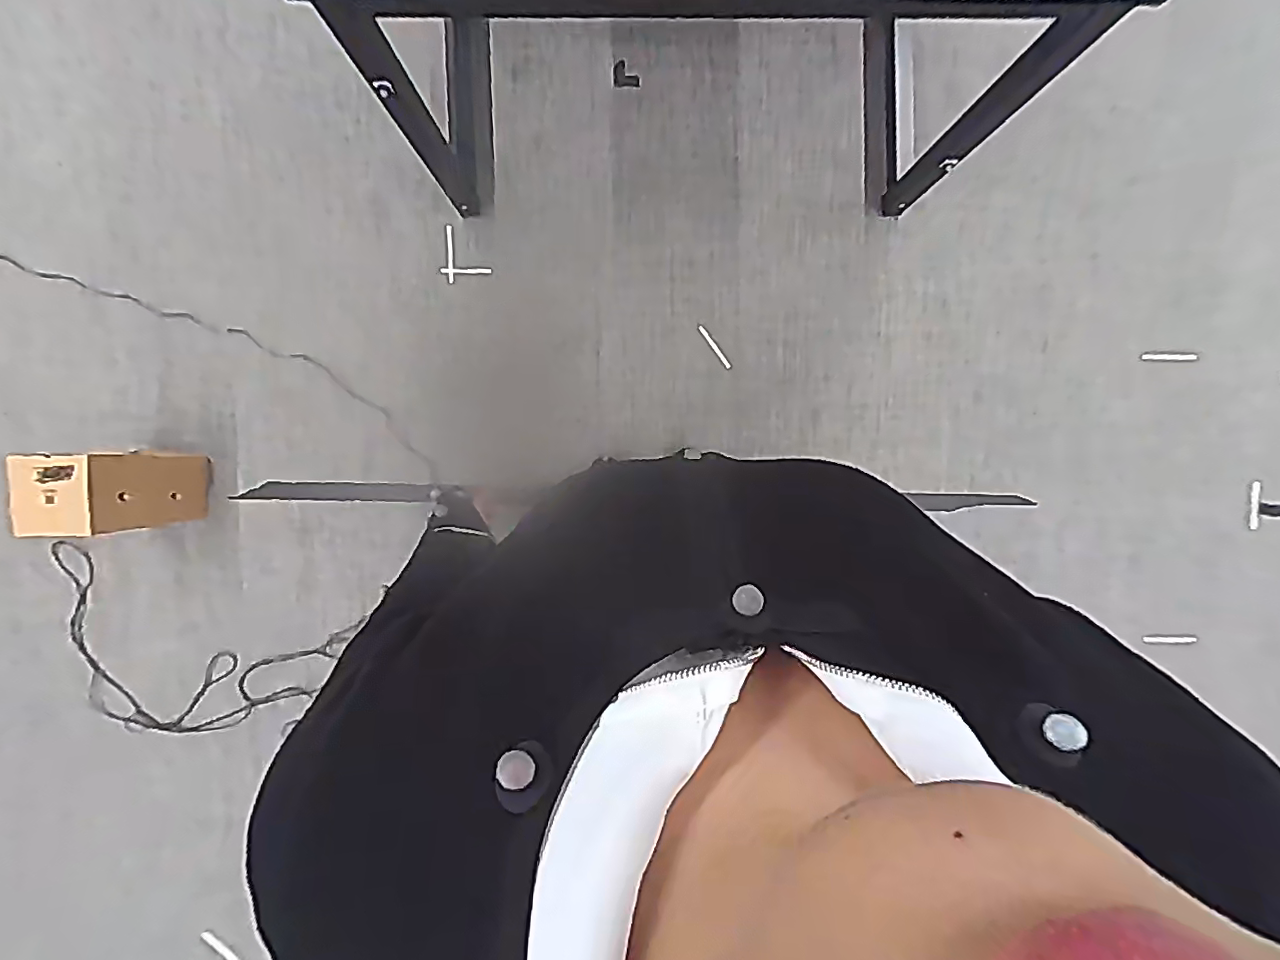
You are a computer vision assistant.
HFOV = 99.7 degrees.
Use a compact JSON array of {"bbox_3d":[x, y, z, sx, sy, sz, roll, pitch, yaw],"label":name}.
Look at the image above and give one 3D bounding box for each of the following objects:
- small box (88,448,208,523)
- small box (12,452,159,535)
[{"bbox_3d":[-1.254,0.013,1.383,0.168,0.176,0.179,6,93,-2],"label":"small box"},{"bbox_3d":[-1.237,0.026,1.219,0.168,0.176,0.179,0,93,-1],"label":"small box"}]
